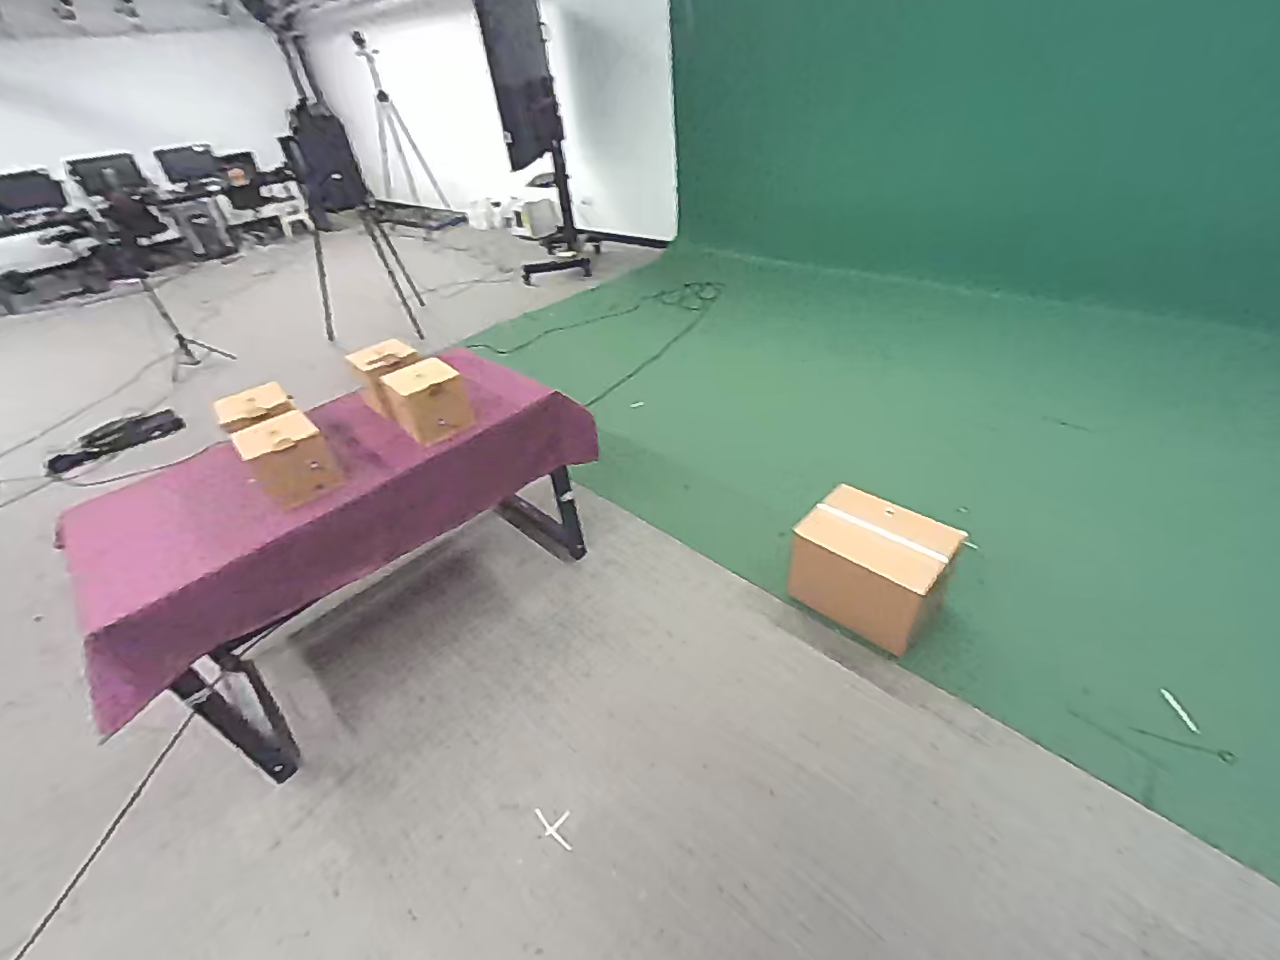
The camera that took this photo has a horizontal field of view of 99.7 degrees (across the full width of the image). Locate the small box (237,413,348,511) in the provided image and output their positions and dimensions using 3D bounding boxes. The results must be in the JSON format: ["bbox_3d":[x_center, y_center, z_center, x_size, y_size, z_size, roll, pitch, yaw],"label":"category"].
[{"bbox_3d":[-0.880,-0.043,1.379,0.168,0.176,0.179,-33,43,-30],"label":"small box"}]

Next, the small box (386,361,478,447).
[{"bbox_3d":[-0.596,-0.220,1.559,0.168,0.176,0.179,-32,44,-28],"label":"small box"}]

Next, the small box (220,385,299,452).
[{"bbox_3d":[-1.046,-0.142,1.532,0.168,0.176,0.179,-30,43,-26],"label":"small box"}]
